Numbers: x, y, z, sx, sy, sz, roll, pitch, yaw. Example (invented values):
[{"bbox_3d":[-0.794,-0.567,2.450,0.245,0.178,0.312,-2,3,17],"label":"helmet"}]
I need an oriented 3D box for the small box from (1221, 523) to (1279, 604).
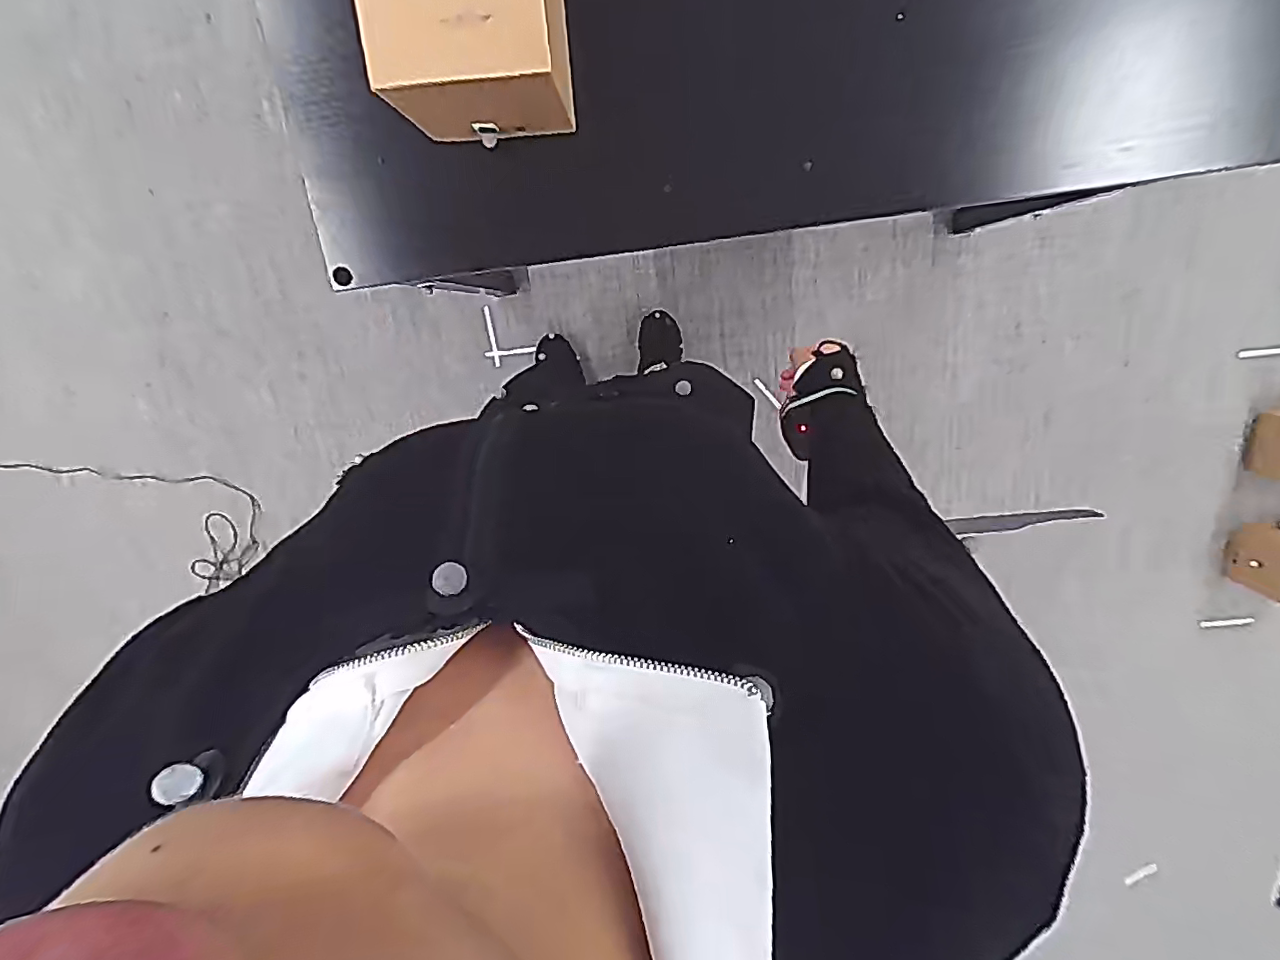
[{"bbox_3d":[1.766,0.224,1.476,0.179,0.176,0.168,-4,108,3],"label":"small box"}]

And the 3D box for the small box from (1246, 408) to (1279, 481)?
[{"bbox_3d":[1.722,-0.087,1.376,0.168,0.176,0.179,-9,107,3],"label":"small box"}]

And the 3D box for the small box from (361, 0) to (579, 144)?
[{"bbox_3d":[-0.158,-0.458,0.531,0.168,0.176,0.179,-4,108,3],"label":"small box"}]
